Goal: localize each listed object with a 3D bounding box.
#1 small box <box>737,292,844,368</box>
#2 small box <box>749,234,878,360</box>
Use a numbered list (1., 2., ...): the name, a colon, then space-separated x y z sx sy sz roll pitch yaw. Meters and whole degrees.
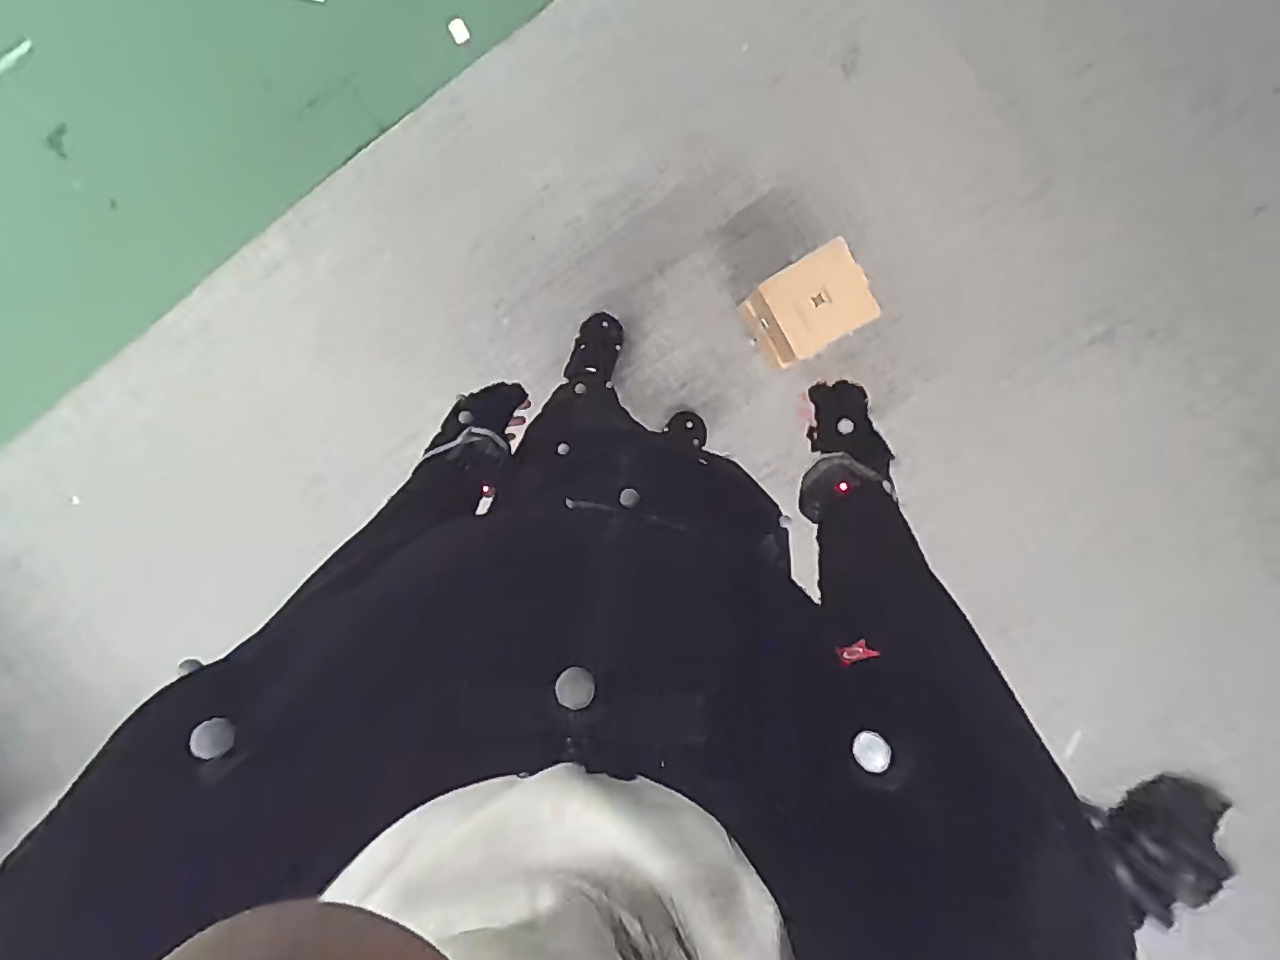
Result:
1. small box: 0.341 -0.378 1.252 0.168 0.176 0.179 -30 98 9
2. small box: 0.337 -0.358 1.090 0.179 0.176 0.168 -30 96 10
